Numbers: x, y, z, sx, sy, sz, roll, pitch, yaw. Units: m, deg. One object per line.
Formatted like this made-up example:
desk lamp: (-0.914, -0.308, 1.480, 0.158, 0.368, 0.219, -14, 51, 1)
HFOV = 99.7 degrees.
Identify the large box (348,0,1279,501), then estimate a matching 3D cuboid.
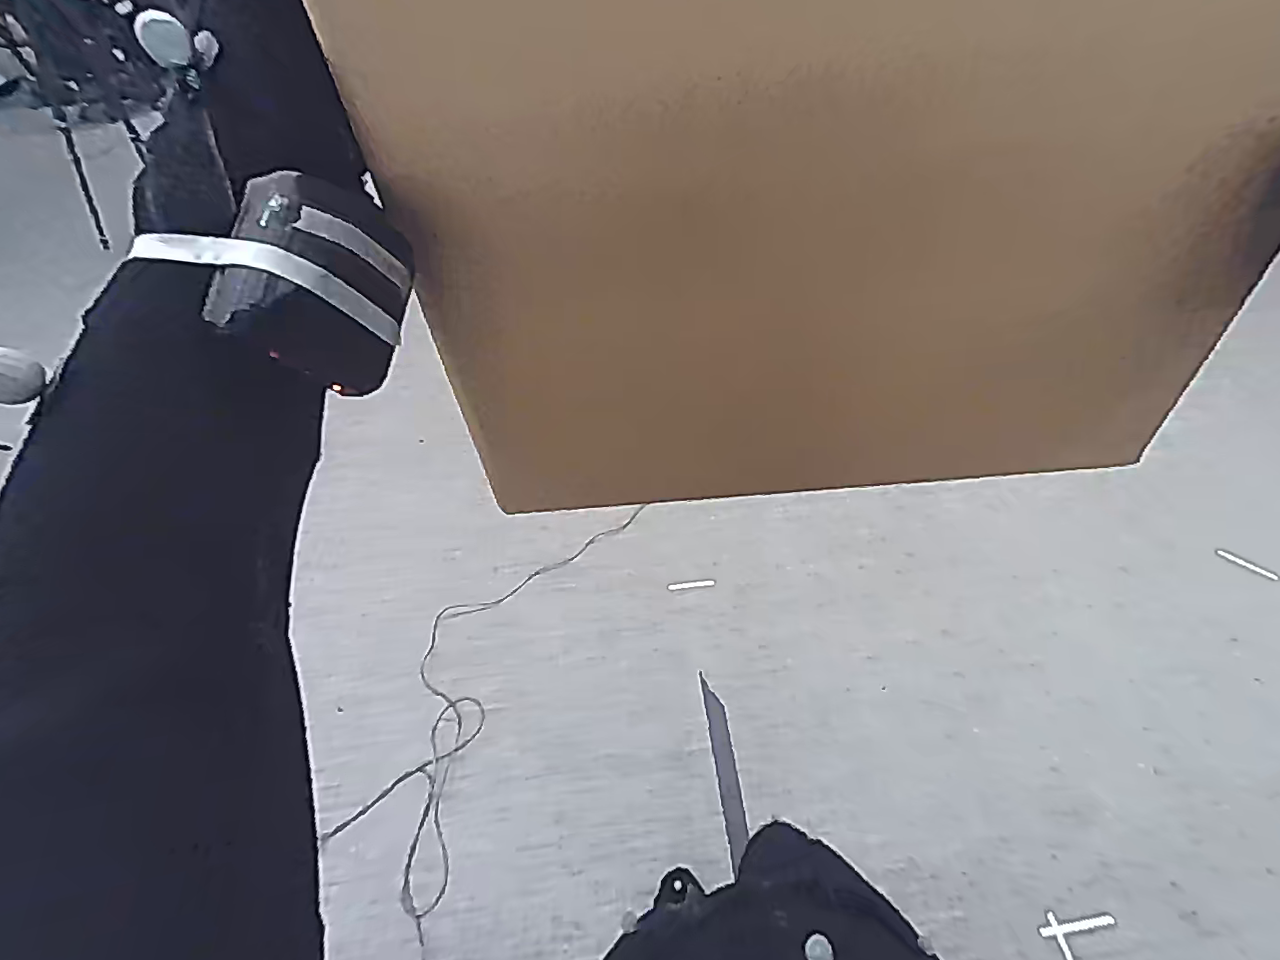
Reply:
large box: (0.089, -0.210, 0.373, 0.408, 0.320, 0.320, -5, 41, 2)
